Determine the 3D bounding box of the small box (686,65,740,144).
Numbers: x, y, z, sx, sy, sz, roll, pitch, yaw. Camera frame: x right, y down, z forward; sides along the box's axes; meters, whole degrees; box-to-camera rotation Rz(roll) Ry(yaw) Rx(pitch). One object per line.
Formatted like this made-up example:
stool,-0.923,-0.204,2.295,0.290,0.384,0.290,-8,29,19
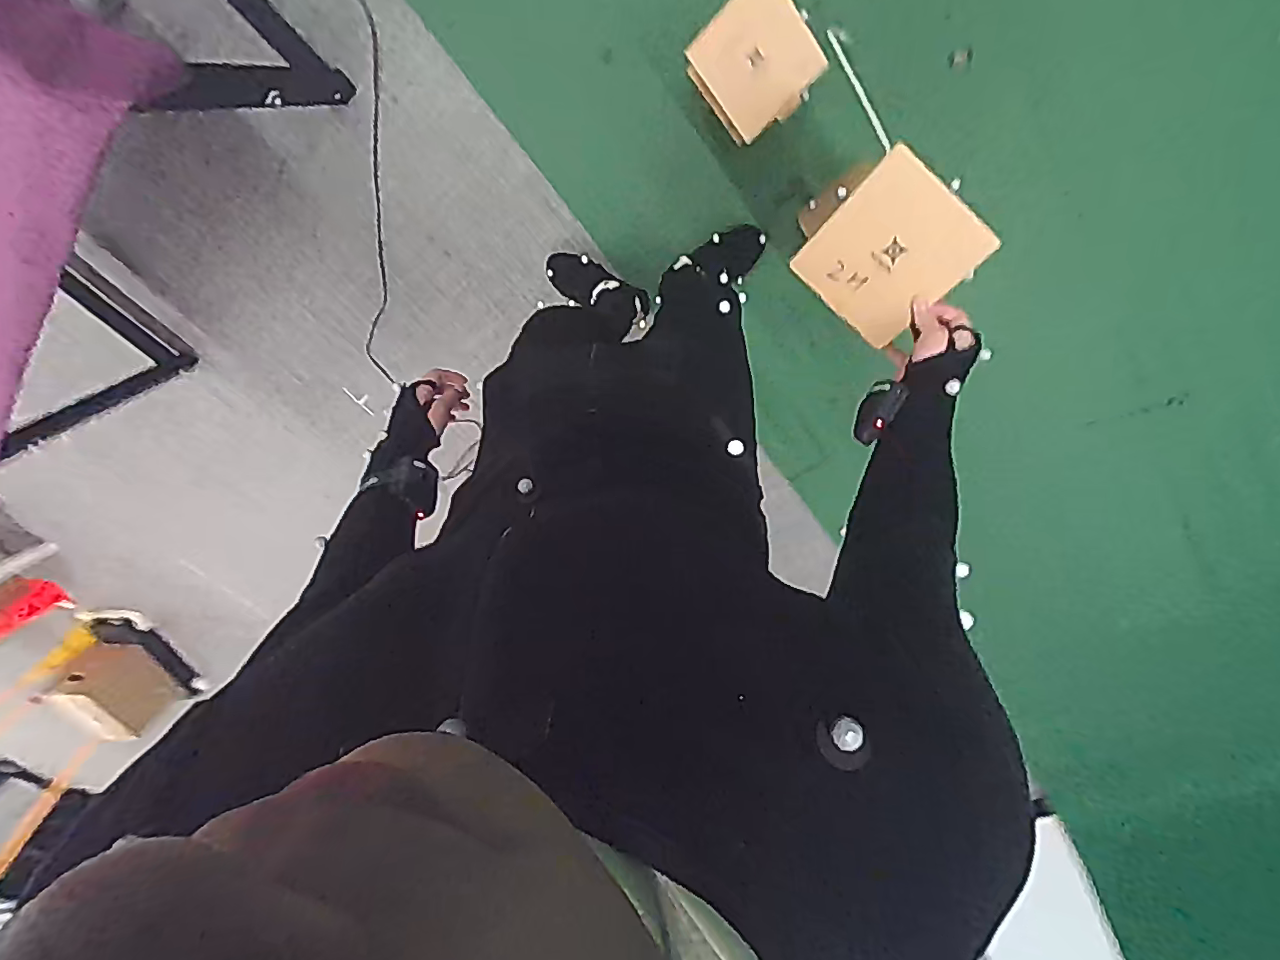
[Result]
small box,0.216,-0.812,1.086,0.179,0.176,0.168,-34,112,28

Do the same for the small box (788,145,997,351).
small box,0.323,-0.310,0.718,0.168,0.176,0.179,42,127,-5

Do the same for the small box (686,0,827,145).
small box,0.203,-0.728,0.947,0.168,0.176,0.179,-33,112,28
